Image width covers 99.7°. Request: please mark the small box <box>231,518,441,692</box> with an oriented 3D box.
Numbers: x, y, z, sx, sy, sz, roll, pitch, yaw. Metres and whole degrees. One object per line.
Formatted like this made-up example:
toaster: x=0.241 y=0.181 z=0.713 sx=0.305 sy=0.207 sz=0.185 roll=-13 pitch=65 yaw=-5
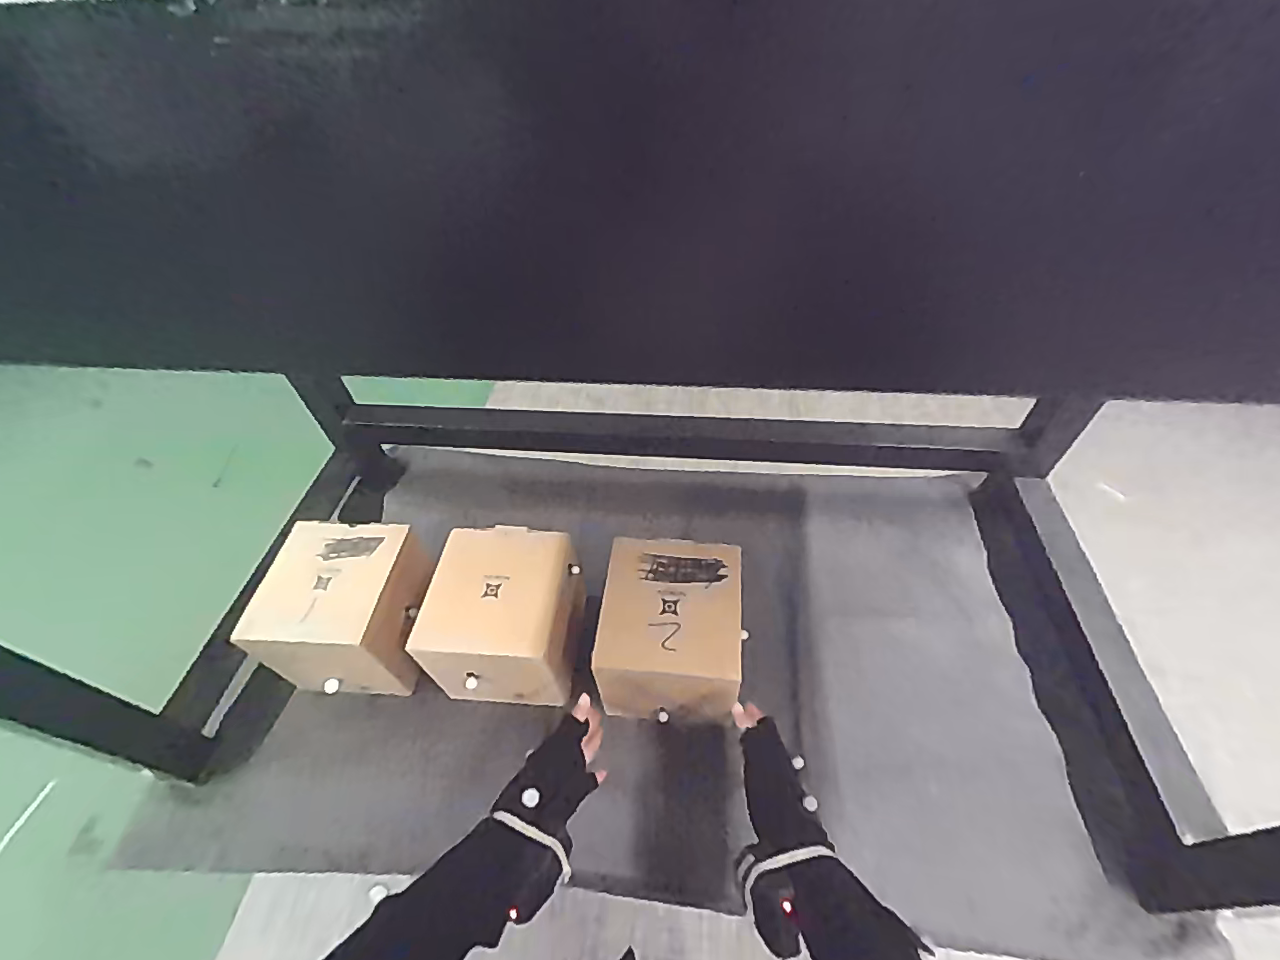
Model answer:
small box: x=-0.398 y=0.173 z=0.750 sx=0.168 sy=0.176 sz=0.179 roll=1 pitch=49 yaw=6
